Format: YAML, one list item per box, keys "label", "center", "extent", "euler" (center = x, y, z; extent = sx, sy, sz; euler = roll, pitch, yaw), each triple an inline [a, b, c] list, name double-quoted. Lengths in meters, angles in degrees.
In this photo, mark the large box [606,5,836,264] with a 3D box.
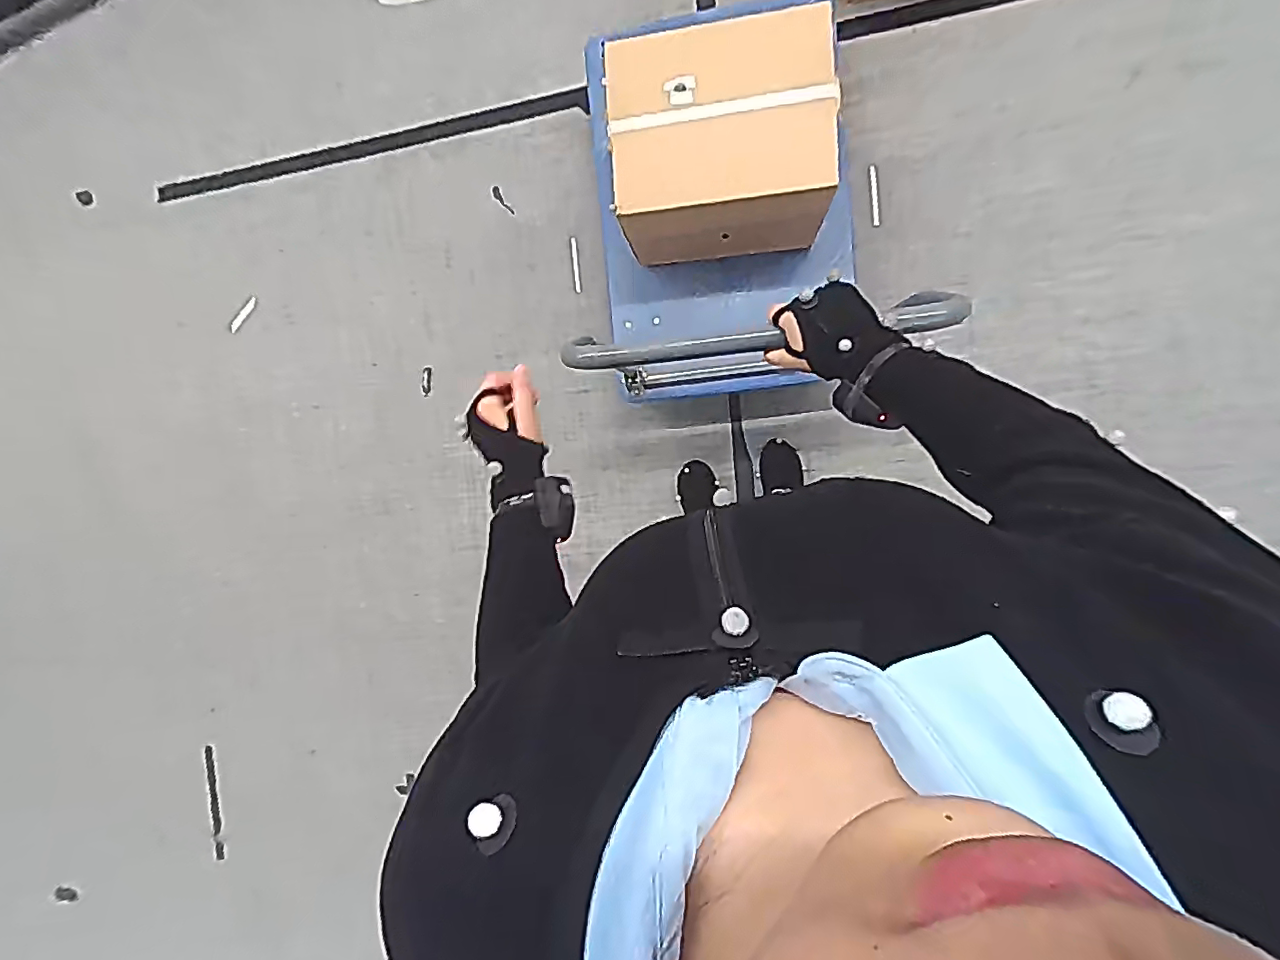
- label: "large box"
  center: [0.169, -0.677, 1.133]
  extent: [0.408, 0.320, 0.320]
  euler: [-4, 93, 10]
